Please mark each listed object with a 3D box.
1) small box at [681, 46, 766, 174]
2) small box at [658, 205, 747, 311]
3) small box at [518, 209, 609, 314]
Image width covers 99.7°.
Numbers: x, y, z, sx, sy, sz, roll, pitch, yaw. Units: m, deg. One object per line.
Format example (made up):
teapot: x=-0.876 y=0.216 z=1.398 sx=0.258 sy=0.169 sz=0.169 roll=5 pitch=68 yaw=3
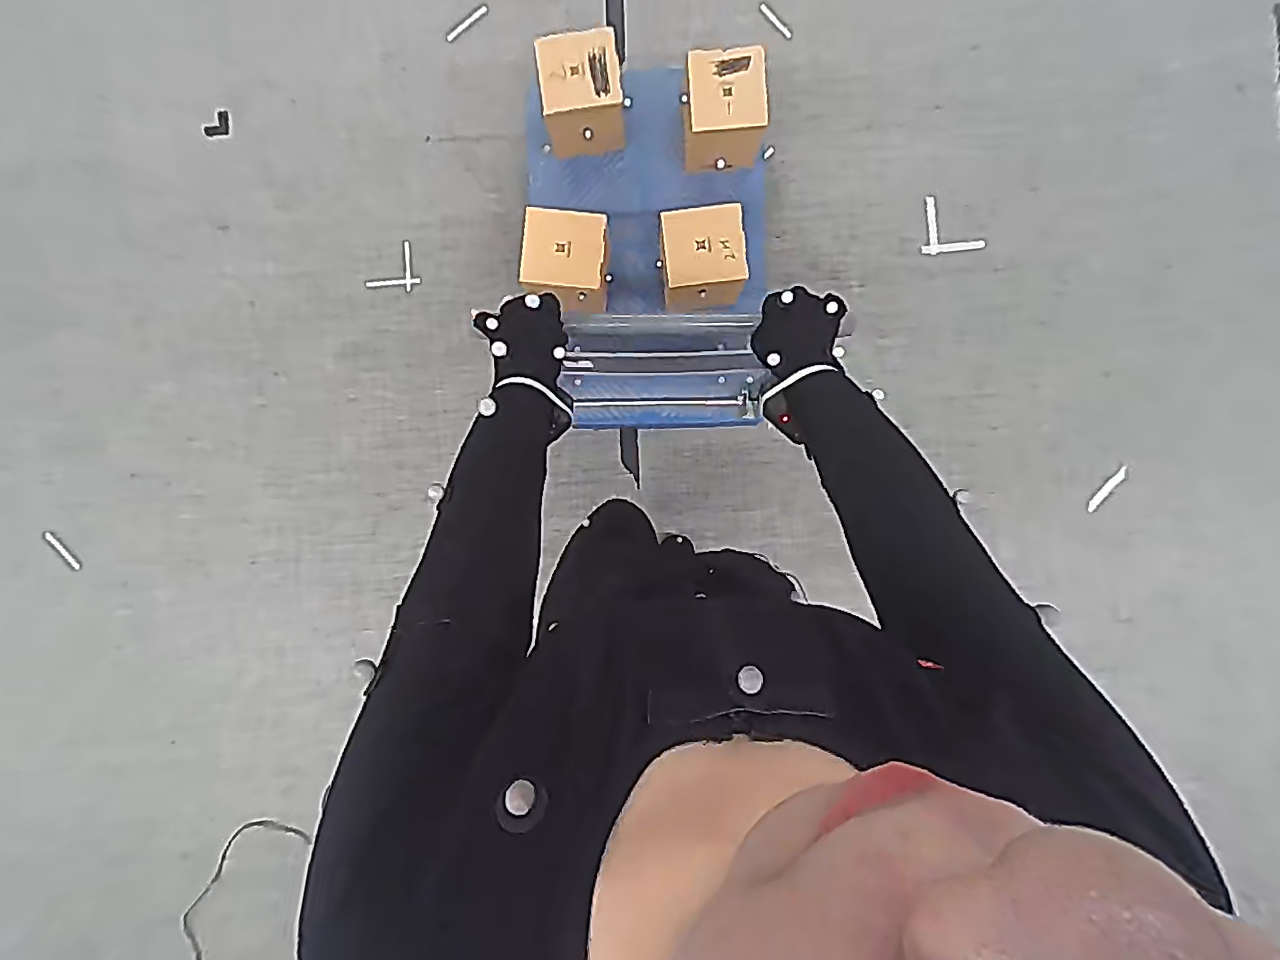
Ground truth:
small box: x=0.184 y=-0.832 z=1.230 sx=0.168 sy=0.176 sz=0.179 roll=-4 pitch=91 yaw=1
small box: x=0.136 y=-0.496 z=1.231 sx=0.179 sy=0.176 sz=0.168 roll=-6 pitch=90 yaw=1
small box: x=-0.168 y=-0.490 z=1.236 sx=0.179 sy=0.176 sz=0.168 roll=5 pitch=89 yaw=-1
